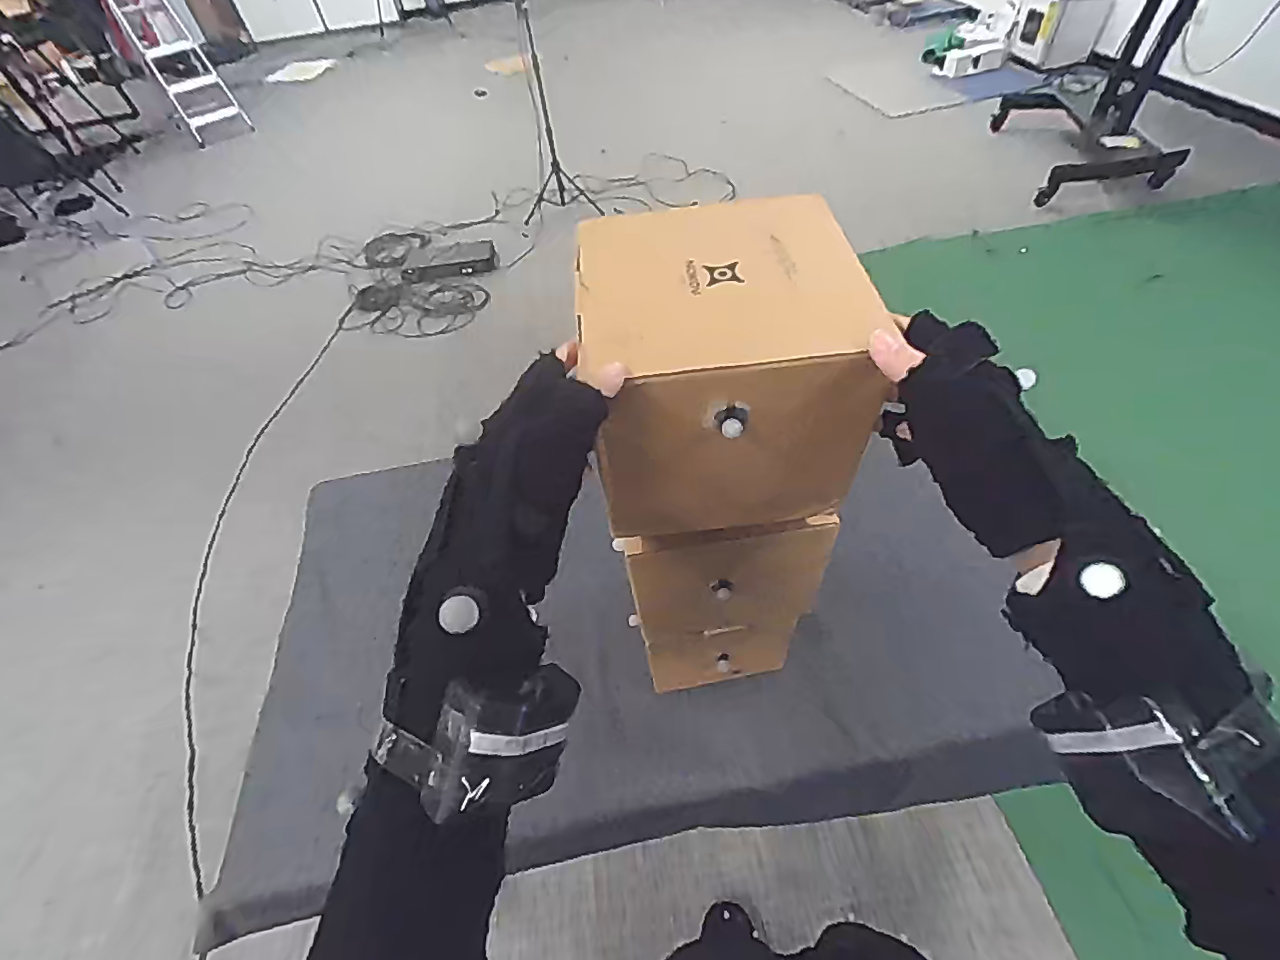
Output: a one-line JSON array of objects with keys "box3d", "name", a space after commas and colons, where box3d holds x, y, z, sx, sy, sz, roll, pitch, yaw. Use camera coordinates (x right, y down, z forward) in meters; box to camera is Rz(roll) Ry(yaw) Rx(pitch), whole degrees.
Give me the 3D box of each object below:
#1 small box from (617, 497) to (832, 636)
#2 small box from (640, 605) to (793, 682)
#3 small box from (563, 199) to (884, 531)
[{"box3d": [0.068, 0.038, 0.543, 0.179, 0.176, 0.168, -10, 50, 1], "name": "small box"}, {"box3d": [0.078, 0.136, 0.676, 0.168, 0.176, 0.179, -12, 51, -2], "name": "small box"}, {"box3d": [0.046, -0.076, 0.400, 0.179, 0.176, 0.168, -7, 54, 0], "name": "small box"}]
